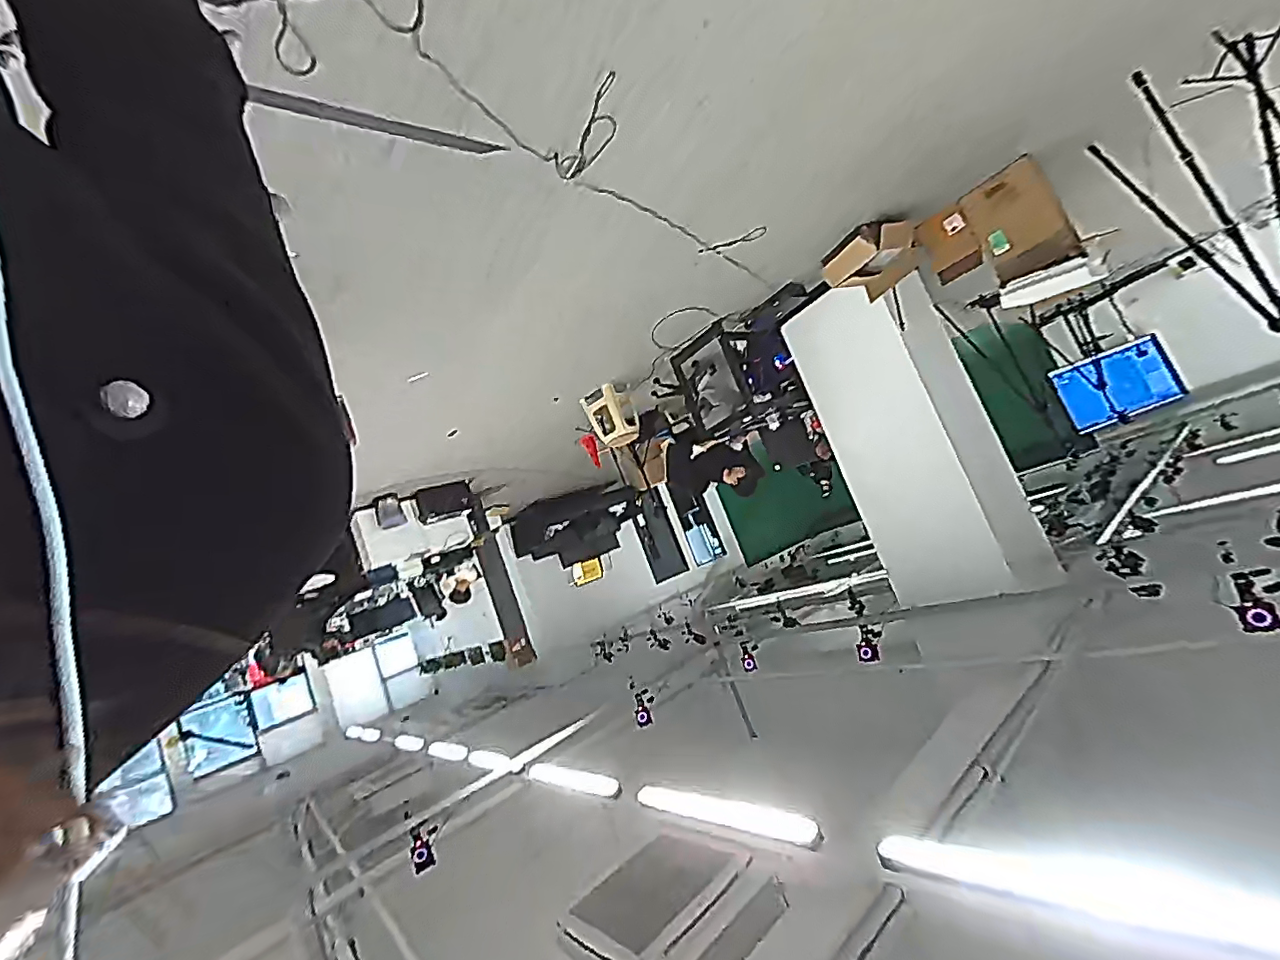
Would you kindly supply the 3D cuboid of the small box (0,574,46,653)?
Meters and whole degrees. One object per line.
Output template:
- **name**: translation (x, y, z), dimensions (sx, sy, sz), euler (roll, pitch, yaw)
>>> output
- **small box**: translation (-1.640, 0.347, 1.354), dimensions (0.168, 0.176, 0.179), euler (-16, 171, -41)
